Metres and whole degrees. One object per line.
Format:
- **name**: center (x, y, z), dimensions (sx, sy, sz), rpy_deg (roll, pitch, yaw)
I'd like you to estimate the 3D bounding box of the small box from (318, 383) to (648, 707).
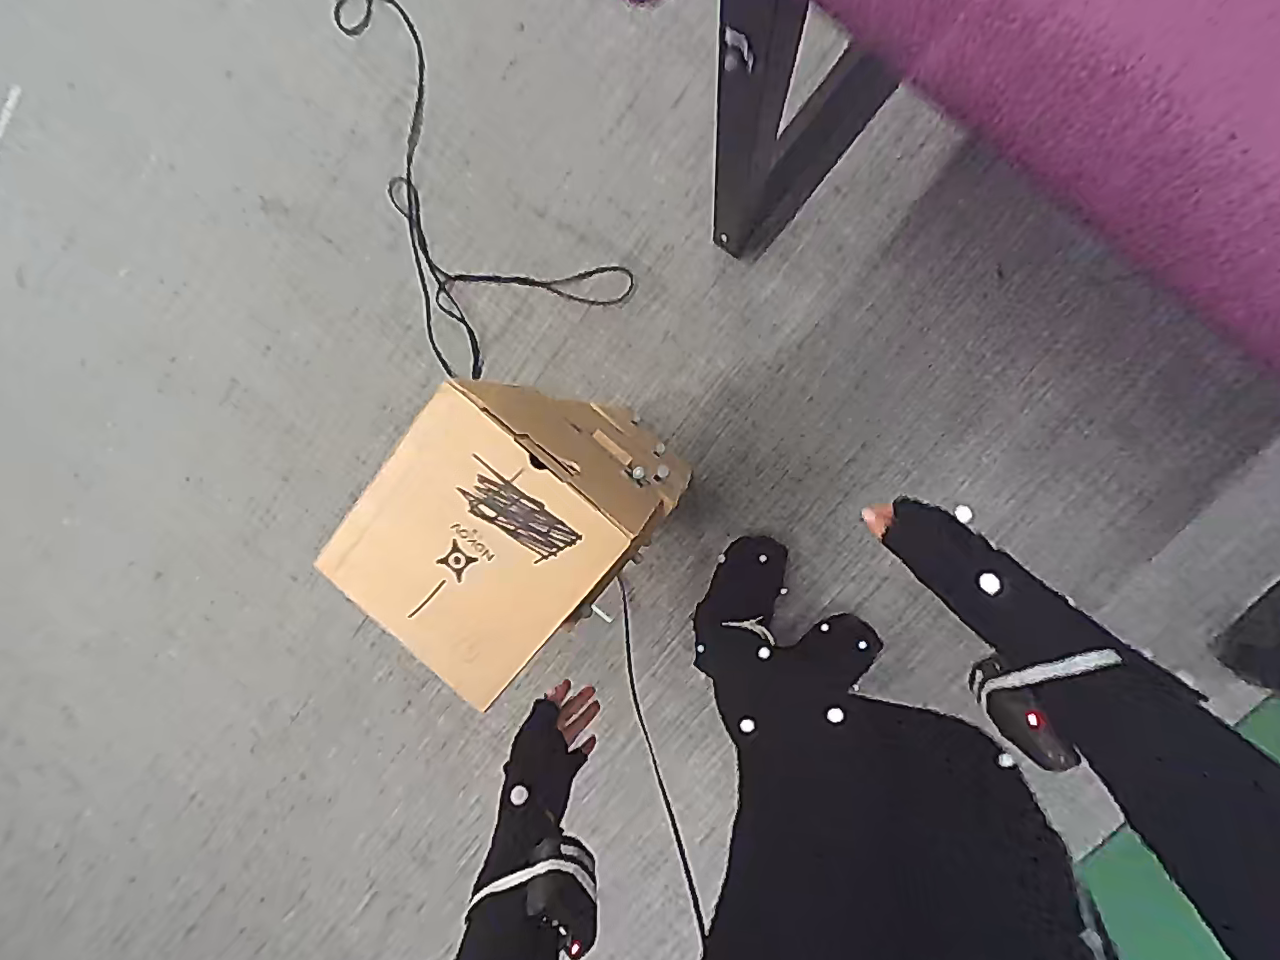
- **small box**: center (-0.108, 0.038, 0.452), dimensions (0.168, 0.176, 0.179), rpy_deg (42, 102, 1)
